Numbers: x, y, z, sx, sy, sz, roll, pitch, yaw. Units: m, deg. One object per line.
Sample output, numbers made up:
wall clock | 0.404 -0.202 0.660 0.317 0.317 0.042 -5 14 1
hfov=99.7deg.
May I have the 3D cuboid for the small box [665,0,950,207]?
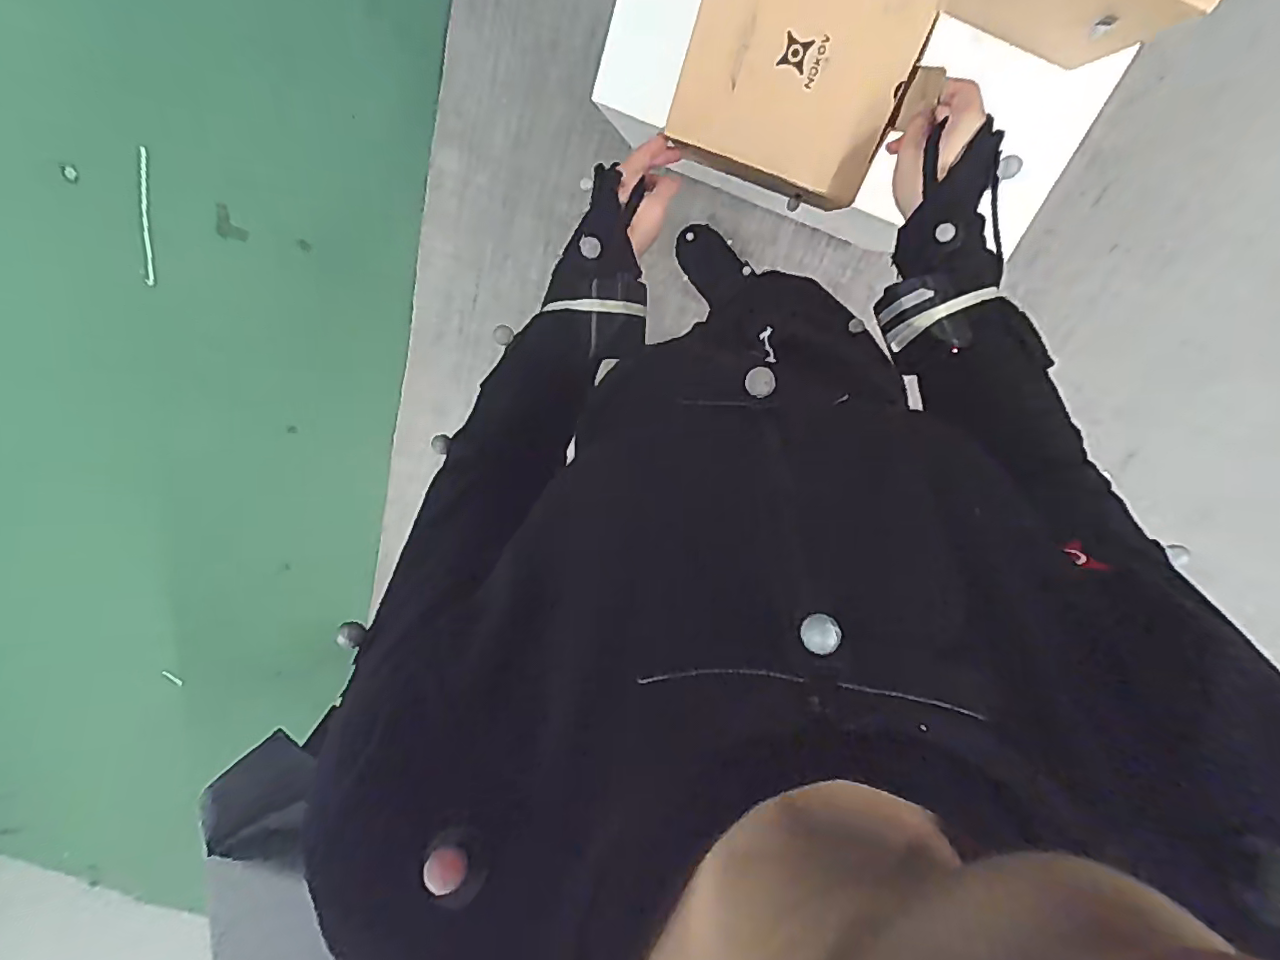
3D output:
small box | 0.141 -0.363 0.495 0.179 0.176 0.168 21 115 2
